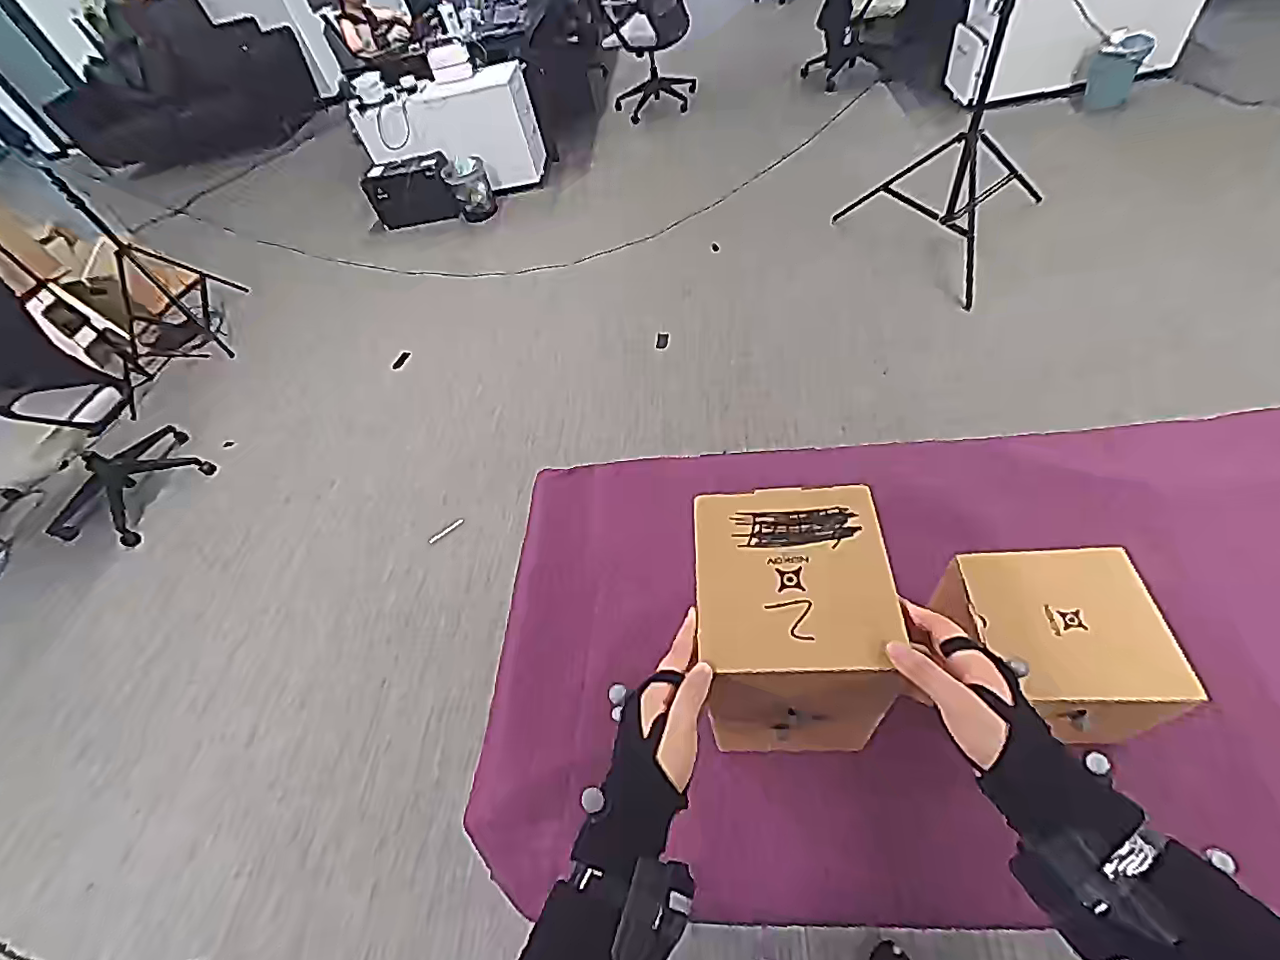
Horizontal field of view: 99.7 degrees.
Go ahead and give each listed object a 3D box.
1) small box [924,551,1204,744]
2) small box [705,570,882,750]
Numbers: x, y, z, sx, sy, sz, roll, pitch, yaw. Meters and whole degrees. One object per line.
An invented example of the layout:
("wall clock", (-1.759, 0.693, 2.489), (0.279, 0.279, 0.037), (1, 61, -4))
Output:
("small box", (0.457, 0.196, 0.624), (0.179, 0.176, 0.168), (-5, 52, 10))
("small box", (0.176, 0.226, 0.663), (0.179, 0.176, 0.168), (-4, 52, 9))
